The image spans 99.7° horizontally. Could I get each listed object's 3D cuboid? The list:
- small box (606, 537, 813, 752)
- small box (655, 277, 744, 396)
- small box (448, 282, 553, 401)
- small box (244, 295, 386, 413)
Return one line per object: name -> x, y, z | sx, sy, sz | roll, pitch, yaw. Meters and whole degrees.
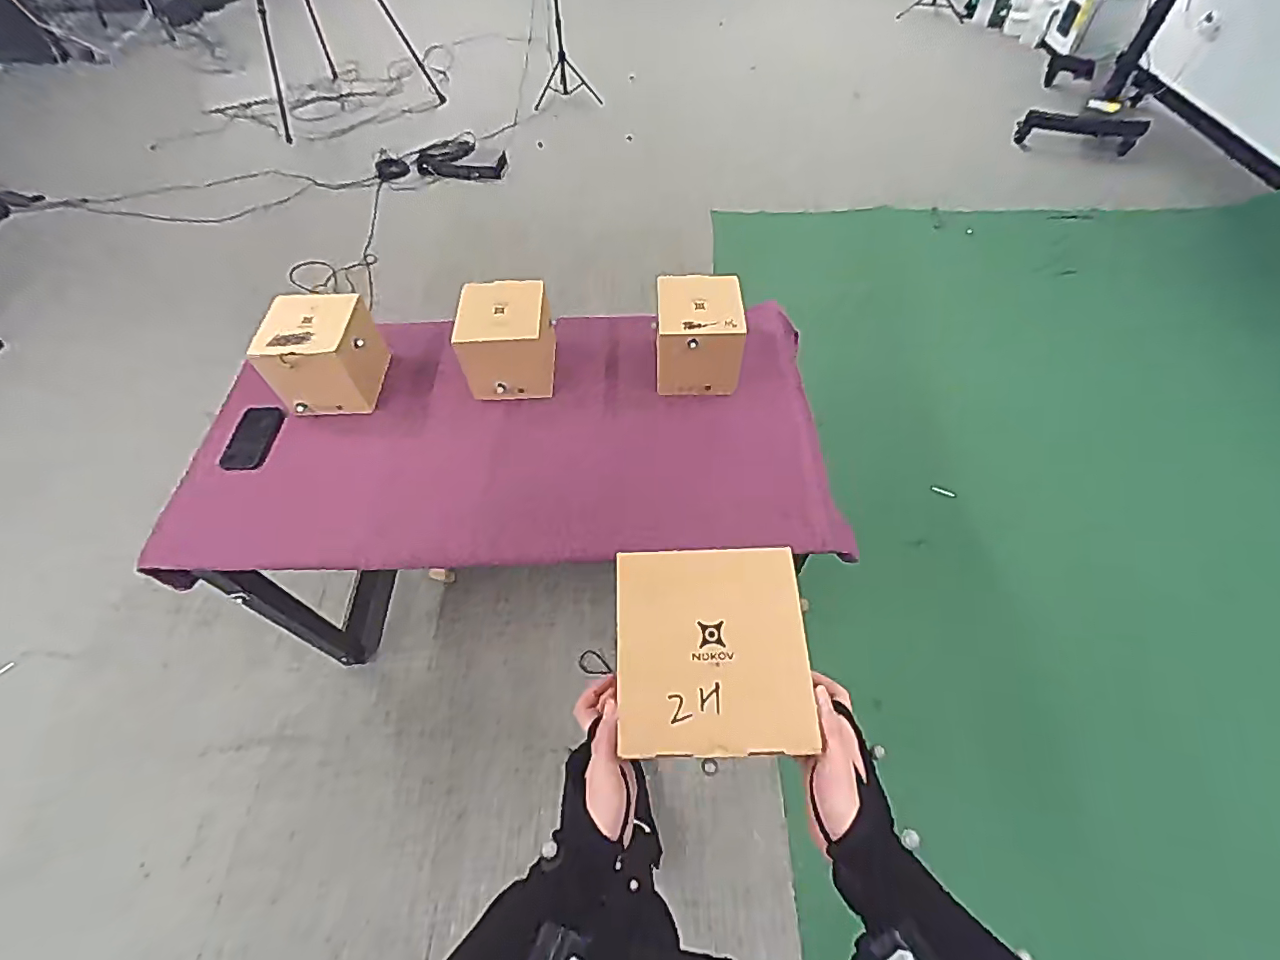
small box -> 0.058, 0.169, 0.534 | 0.168, 0.176, 0.179 | -2, 63, 3
small box -> 0.114, -0.293, 1.110 | 0.168, 0.176, 0.179 | -1, 55, 1
small box -> -0.275, -0.282, 1.111 | 0.168, 0.176, 0.179 | -3, 56, 0
small box -> -0.639, -0.249, 1.093 | 0.168, 0.176, 0.179 | -2, 55, -1
